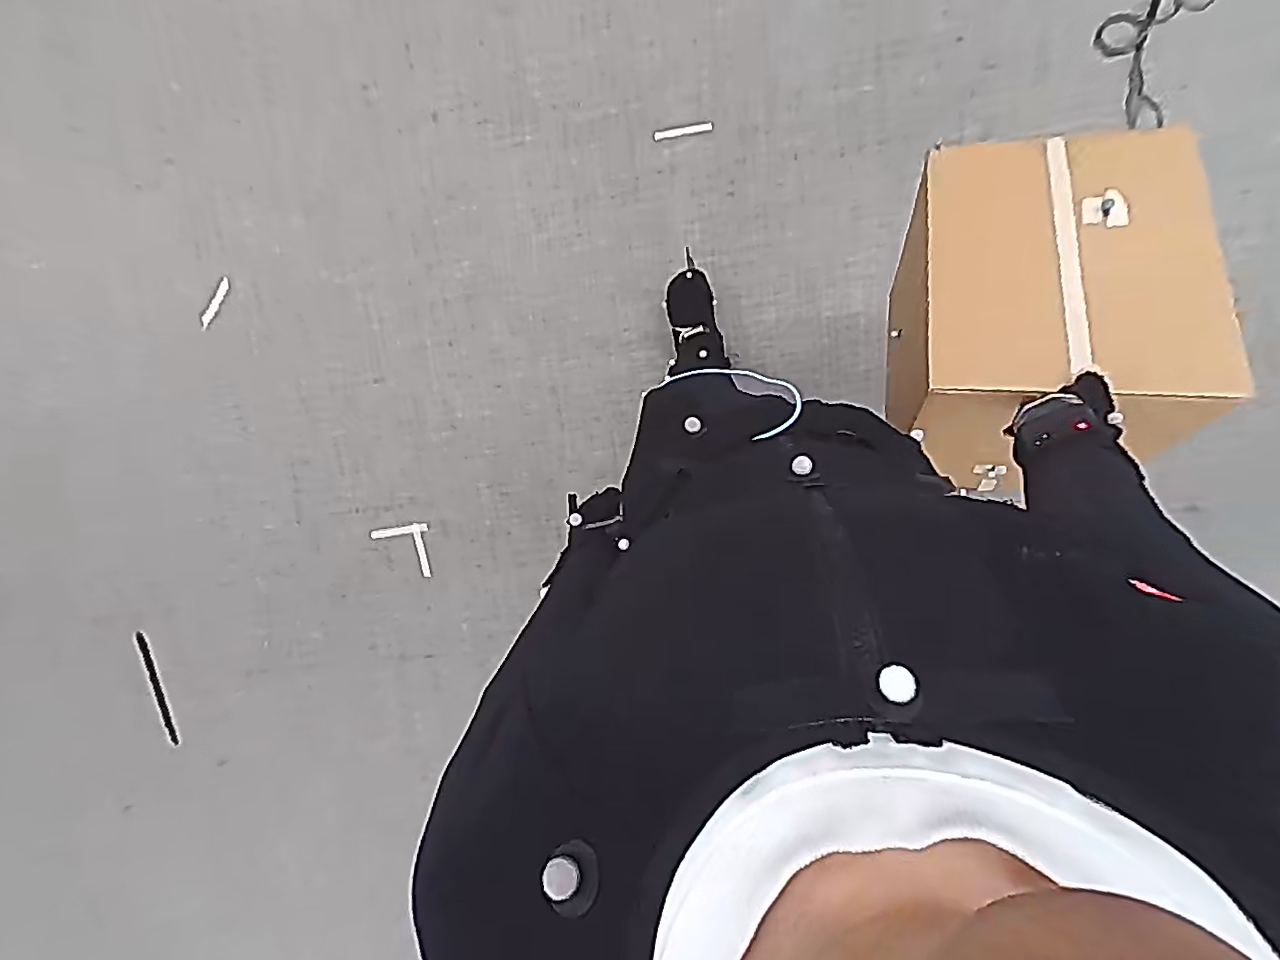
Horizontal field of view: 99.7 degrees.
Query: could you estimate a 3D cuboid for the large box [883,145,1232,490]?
[{"bbox_3d":[0.567,-0.227,0.836,0.320,0.320,0.408,5,68,14],"label":"large box"}]
